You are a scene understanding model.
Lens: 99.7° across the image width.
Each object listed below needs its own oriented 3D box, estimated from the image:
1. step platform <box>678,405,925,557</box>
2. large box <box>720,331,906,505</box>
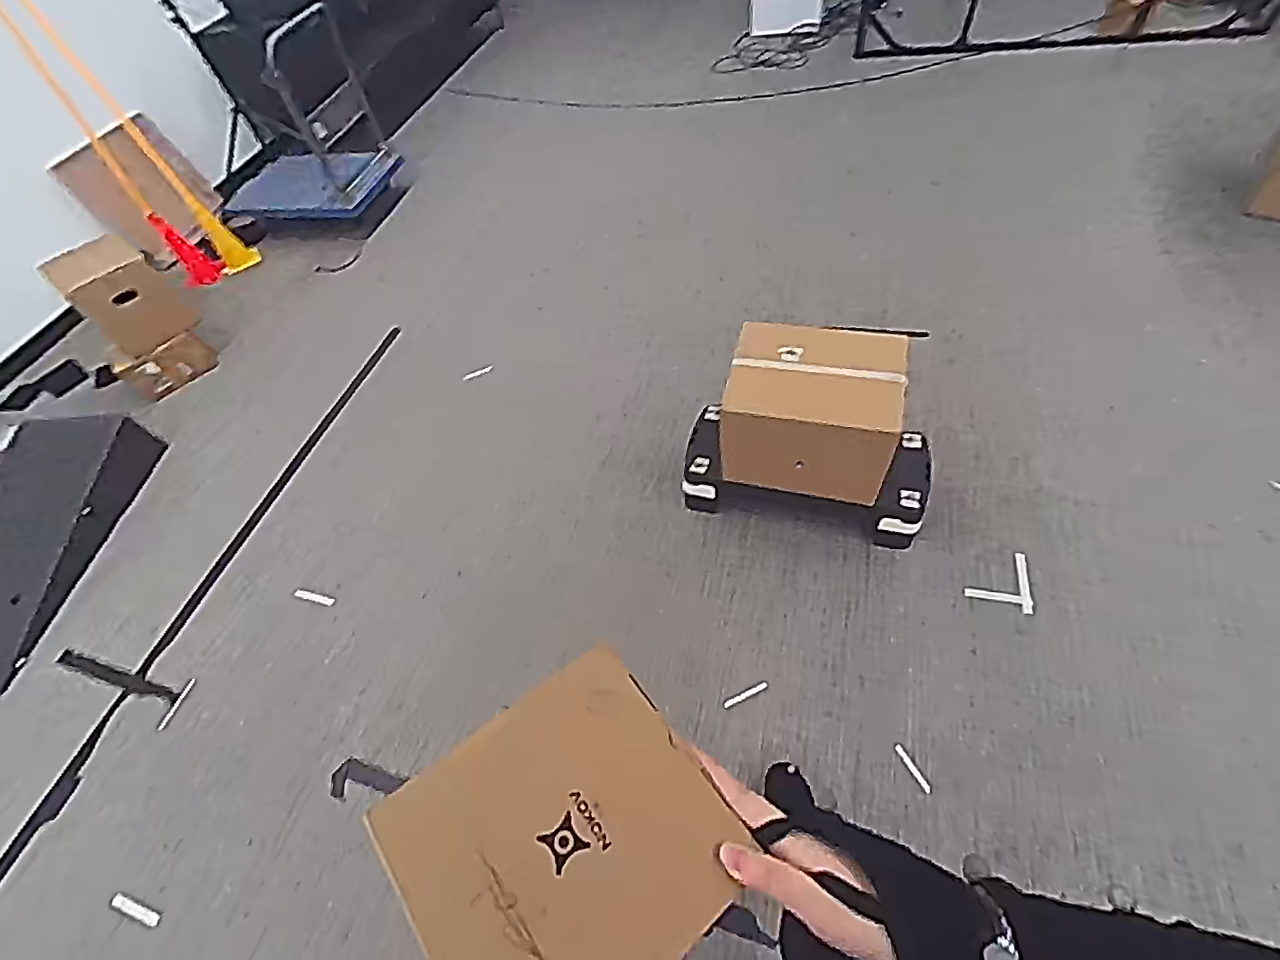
[{"bbox_3d":[0.460,-0.016,1.602,0.684,0.204,0.286,14,59,20],"label":"step platform"},{"bbox_3d":[0.444,-0.161,1.411,0.408,0.320,0.320,9,57,17],"label":"large box"}]
